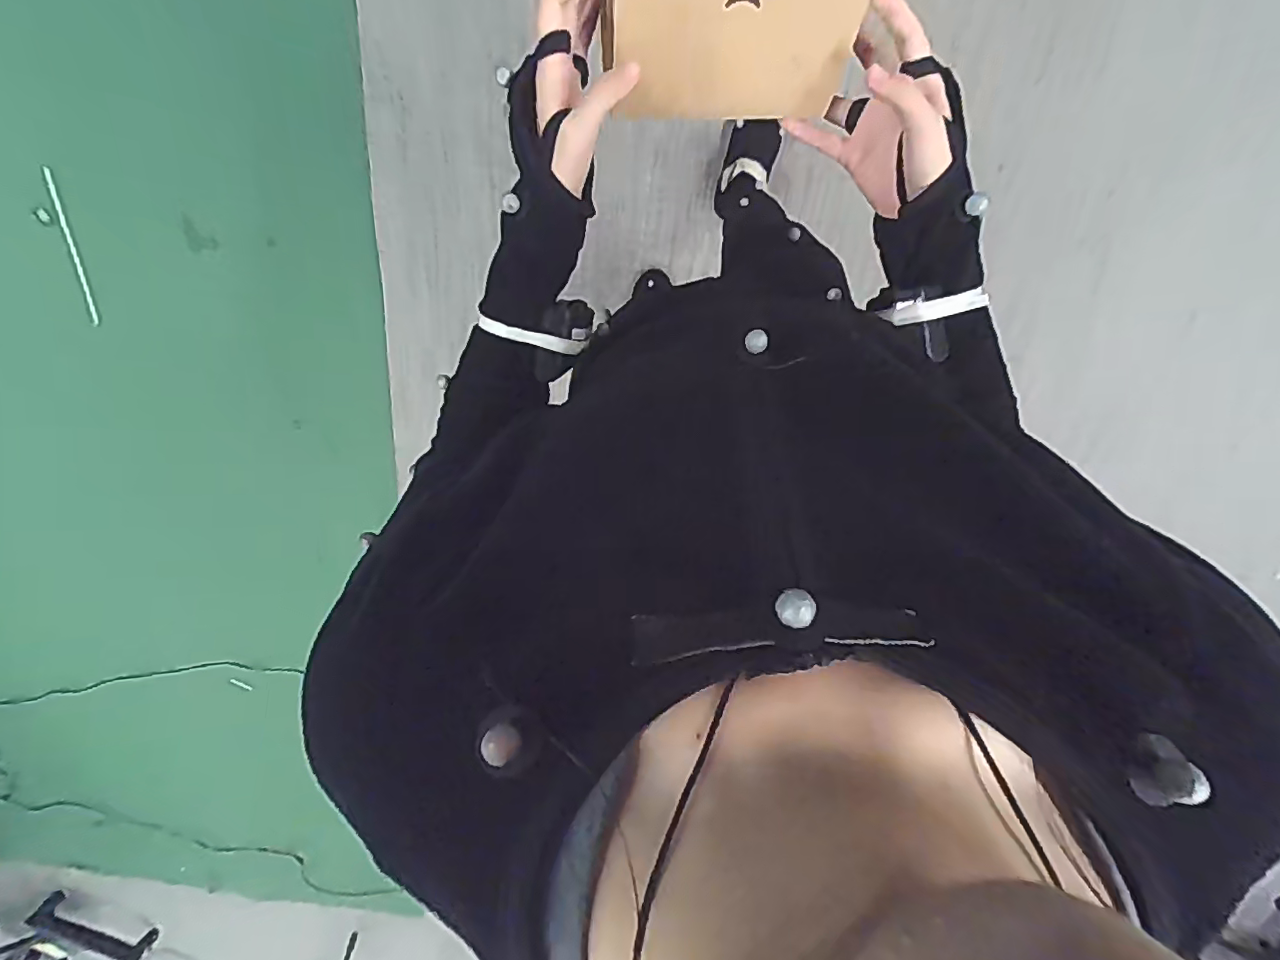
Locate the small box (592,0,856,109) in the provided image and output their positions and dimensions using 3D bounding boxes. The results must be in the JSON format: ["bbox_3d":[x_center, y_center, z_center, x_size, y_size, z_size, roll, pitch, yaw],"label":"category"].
[{"bbox_3d":[0.051,-0.383,0.350,0.168,0.176,0.179,-5,157,-6],"label":"small box"}]
